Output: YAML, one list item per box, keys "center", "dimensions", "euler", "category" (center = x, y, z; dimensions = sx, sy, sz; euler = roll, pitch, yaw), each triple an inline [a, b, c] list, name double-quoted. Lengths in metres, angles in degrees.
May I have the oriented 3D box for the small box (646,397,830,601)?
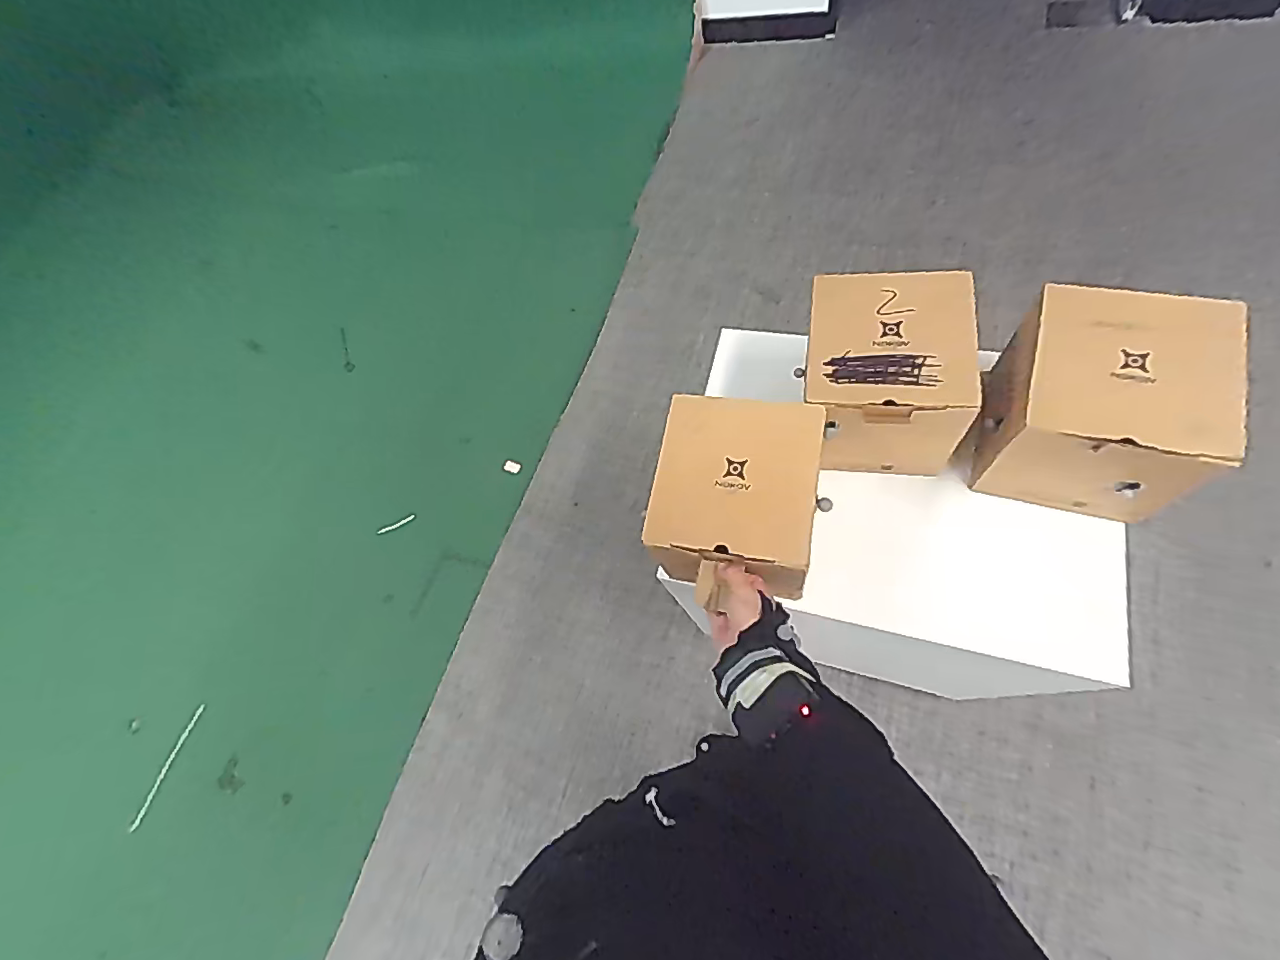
- center: [0.117, 0.027, 0.623]
  dimensions: [0.168, 0.176, 0.179]
  euler: [7, 70, 17]
  category: "small box"

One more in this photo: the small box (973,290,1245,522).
- center: [0.482, -0.071, 0.581]
  dimensions: [0.168, 0.176, 0.179]
  euler: [14, 70, 18]
  category: "small box"
